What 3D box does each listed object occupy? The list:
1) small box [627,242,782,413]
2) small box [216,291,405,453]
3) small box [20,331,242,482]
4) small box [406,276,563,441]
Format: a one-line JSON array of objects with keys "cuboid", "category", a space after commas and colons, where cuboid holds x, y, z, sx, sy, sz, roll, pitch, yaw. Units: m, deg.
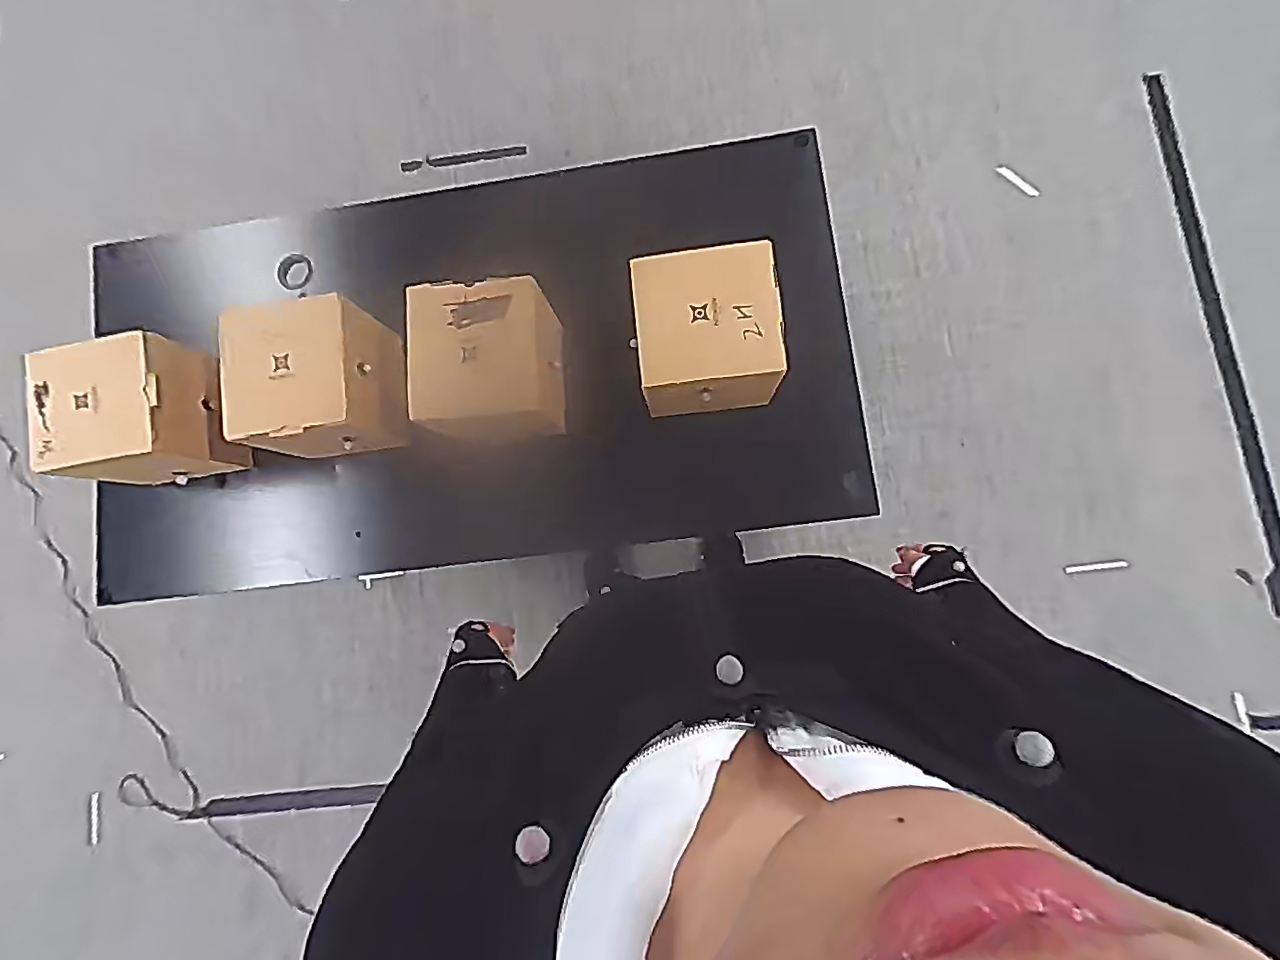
[{"cuboid": [0.083, -0.193, 0.733, 0.179, 0.176, 0.168, -6, 84, 4], "category": "small box"}, {"cuboid": [-0.454, -0.139, 0.768, 0.168, 0.176, 0.179, -8, 83, 2], "category": "small box"}, {"cuboid": [-0.712, -0.096, 0.779, 0.179, 0.176, 0.168, -9, 83, 2], "category": "small box"}, {"cuboid": [-0.205, -0.158, 0.750, 0.168, 0.176, 0.179, -4, 84, 4], "category": "small box"}]
